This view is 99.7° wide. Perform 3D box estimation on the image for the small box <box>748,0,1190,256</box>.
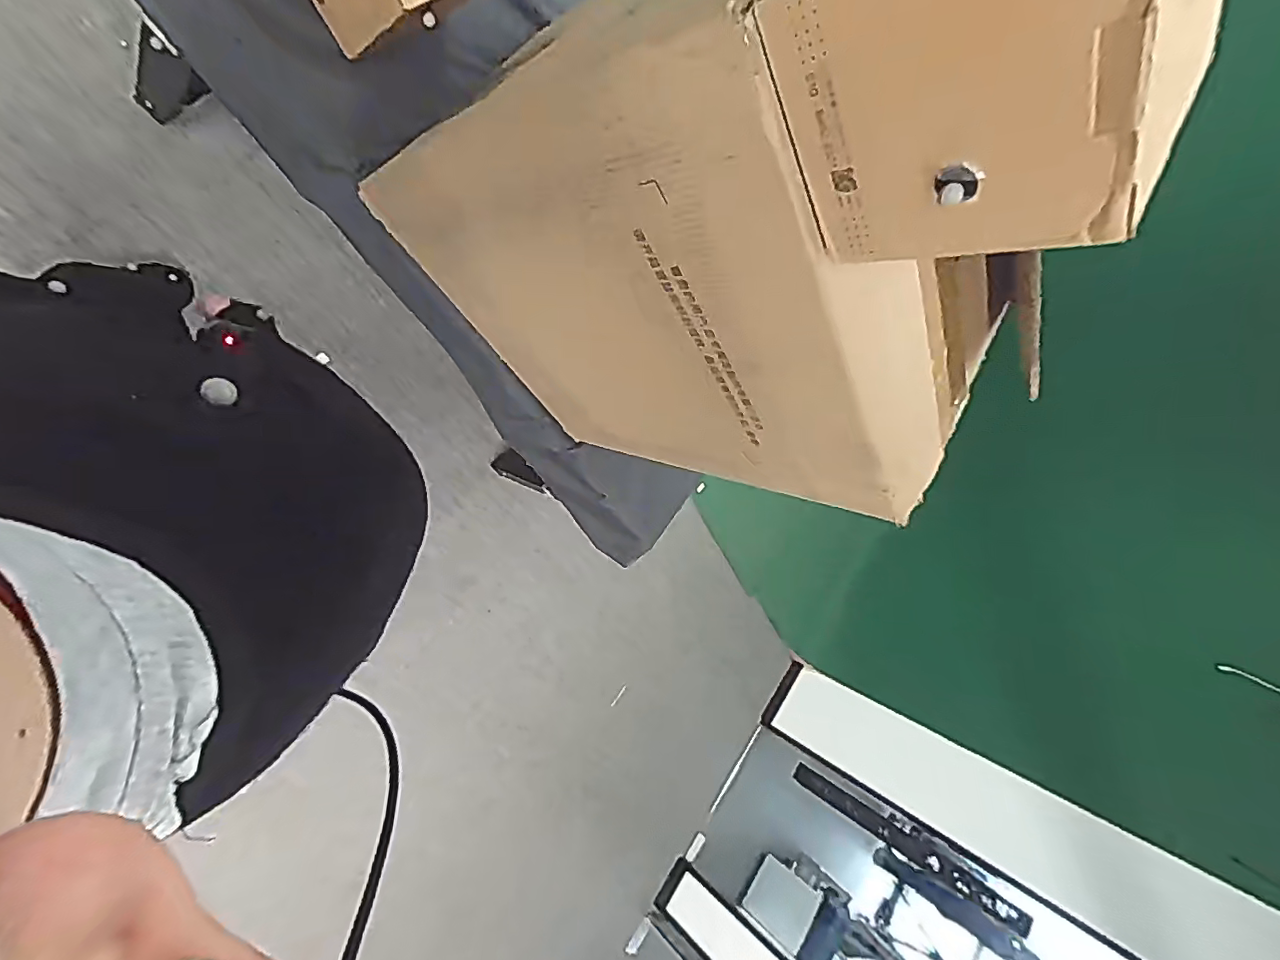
[{"bbox_3d":[0.179,-0.249,0.302,0.179,0.176,0.168,-55,133,-18],"label":"small box"}]
